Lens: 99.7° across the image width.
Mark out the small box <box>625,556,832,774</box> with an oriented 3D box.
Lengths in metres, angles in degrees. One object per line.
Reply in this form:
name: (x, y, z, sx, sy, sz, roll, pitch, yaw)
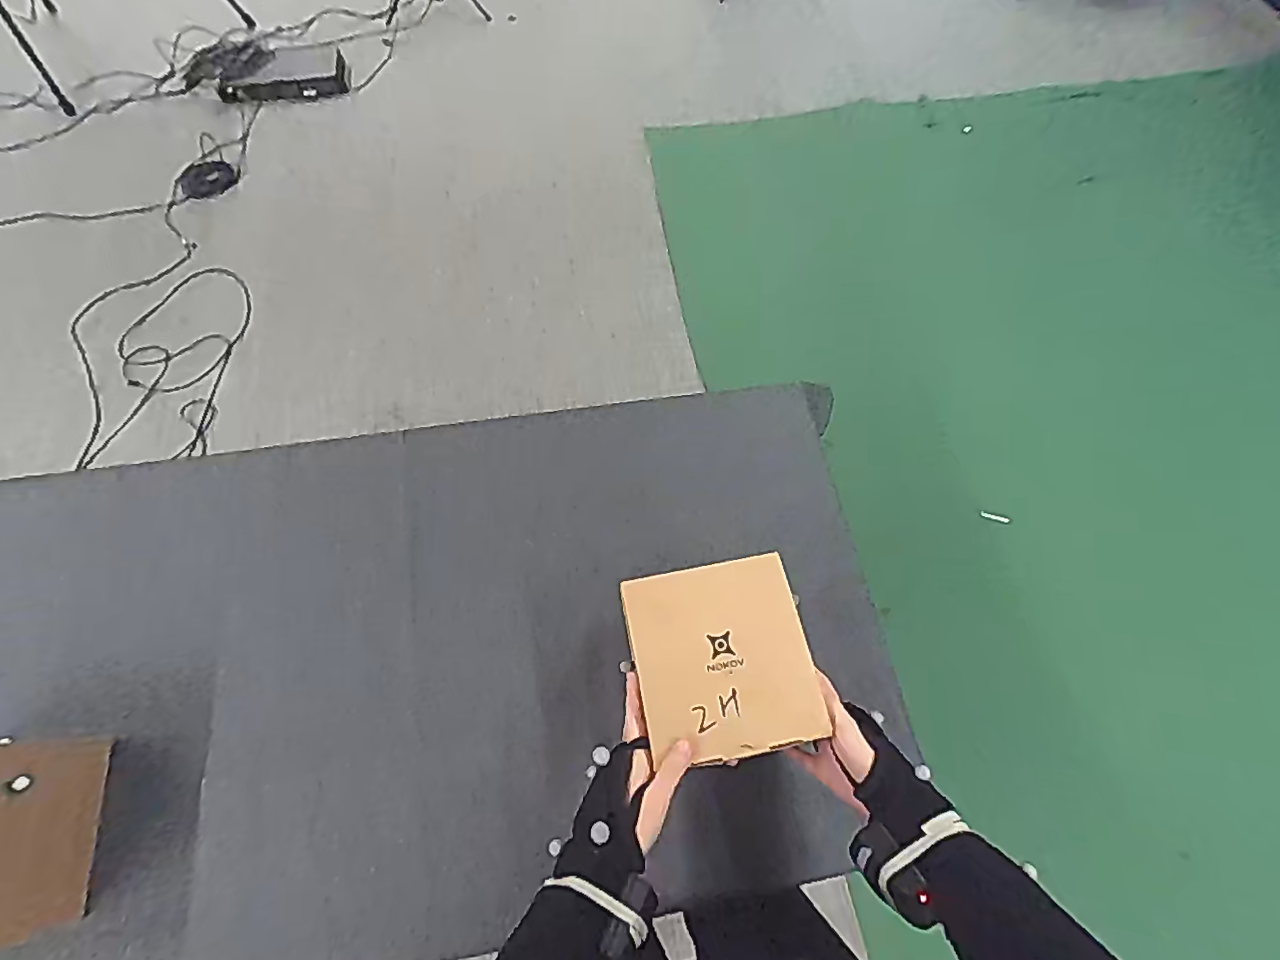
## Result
small box: (0.080, 0.201, 0.589, 0.168, 0.176, 0.179, -11, 67, -3)
